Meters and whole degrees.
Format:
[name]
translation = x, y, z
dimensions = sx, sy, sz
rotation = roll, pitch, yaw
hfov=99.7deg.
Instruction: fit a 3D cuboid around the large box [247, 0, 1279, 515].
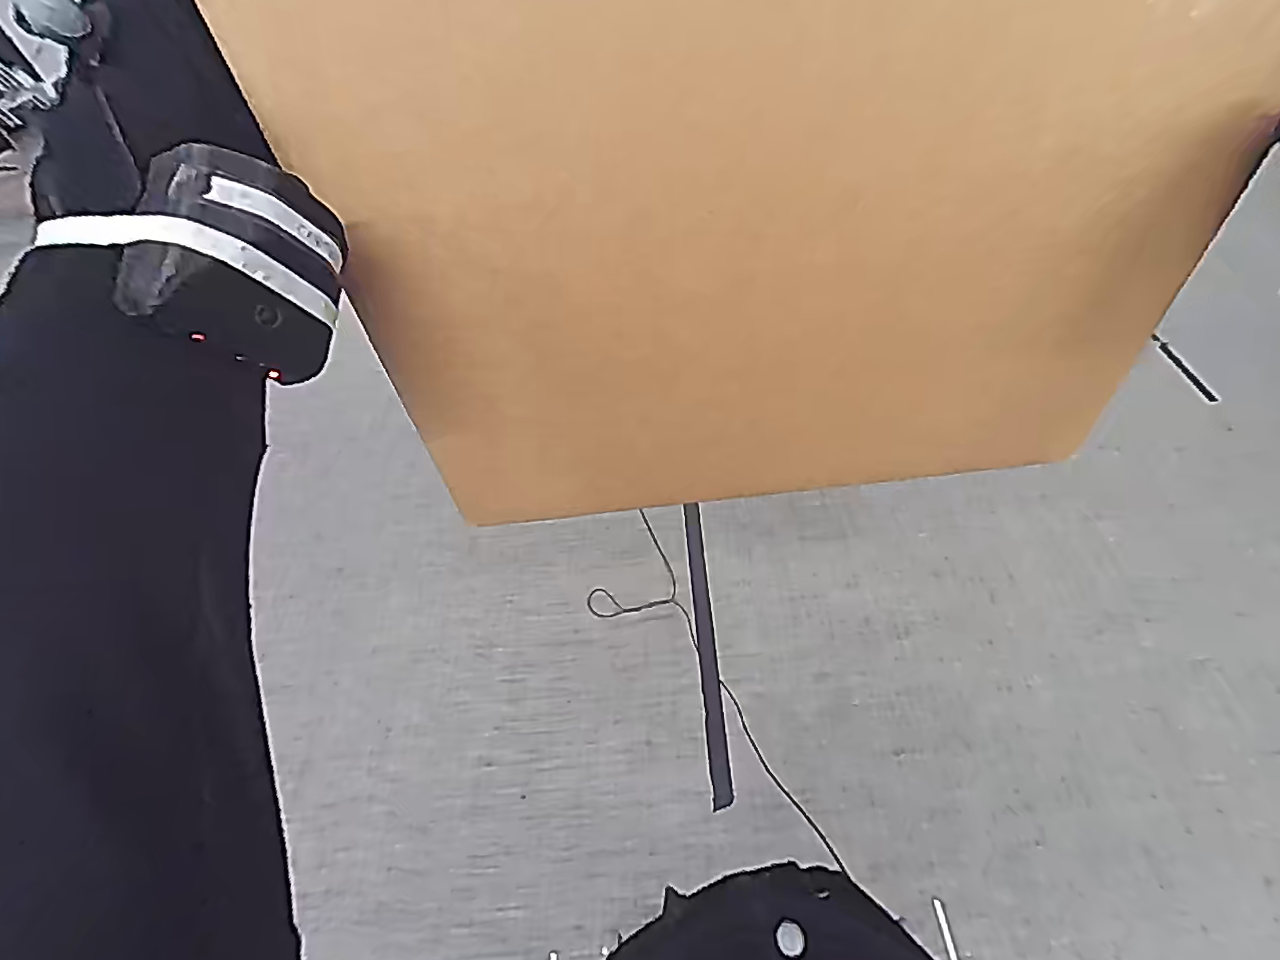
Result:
[large box]
translation = 0.056, -0.206, 0.370
dimensions = 0.408, 0.320, 0.320
rotation = -7, 45, 0
